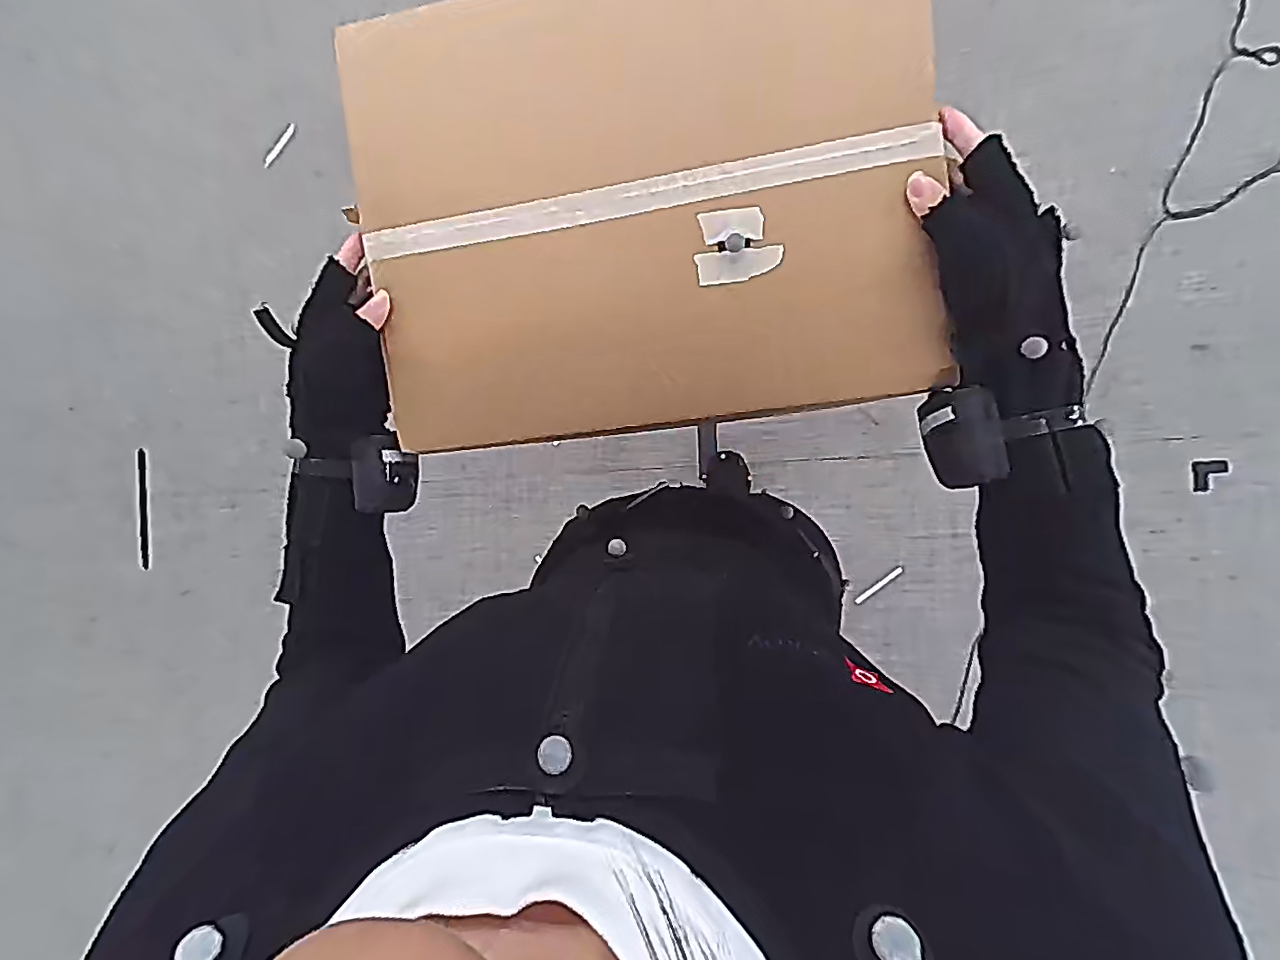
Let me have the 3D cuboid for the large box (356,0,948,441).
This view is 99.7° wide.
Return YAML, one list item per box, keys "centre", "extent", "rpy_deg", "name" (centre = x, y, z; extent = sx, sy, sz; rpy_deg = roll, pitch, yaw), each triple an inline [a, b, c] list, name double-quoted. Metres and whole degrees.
- centre: [0.017, -0.220, 0.537]
  extent: [0.408, 0.320, 0.320]
  rpy_deg: [-7, 96, 8]
  name: "large box"
